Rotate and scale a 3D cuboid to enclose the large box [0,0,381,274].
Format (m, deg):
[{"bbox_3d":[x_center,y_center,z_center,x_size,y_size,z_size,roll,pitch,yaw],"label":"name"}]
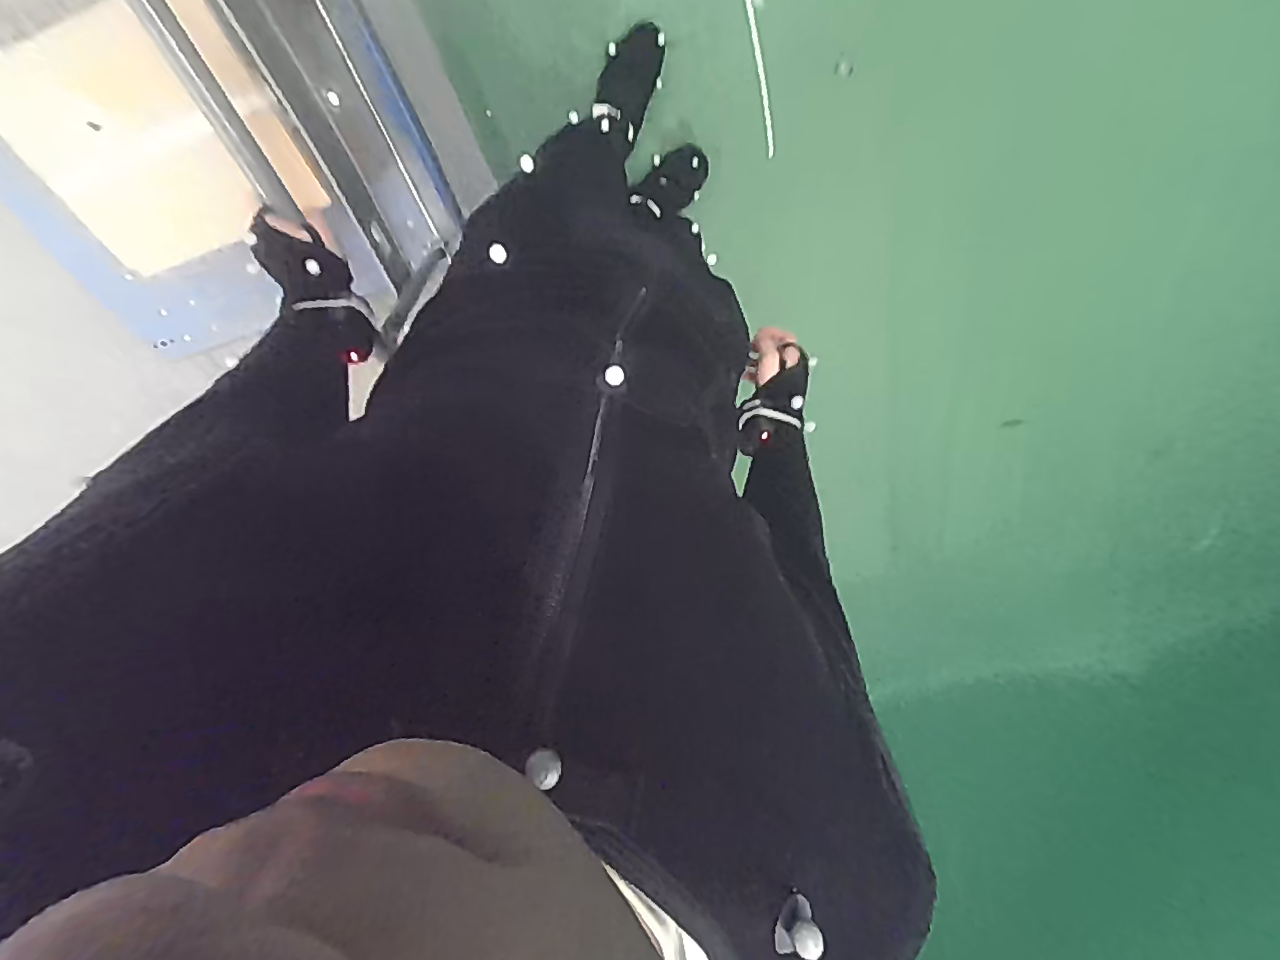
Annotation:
[{"bbox_3d":[-0.760,-0.627,0.959,0.408,0.320,0.320,-15,129,8],"label":"large box"}]
